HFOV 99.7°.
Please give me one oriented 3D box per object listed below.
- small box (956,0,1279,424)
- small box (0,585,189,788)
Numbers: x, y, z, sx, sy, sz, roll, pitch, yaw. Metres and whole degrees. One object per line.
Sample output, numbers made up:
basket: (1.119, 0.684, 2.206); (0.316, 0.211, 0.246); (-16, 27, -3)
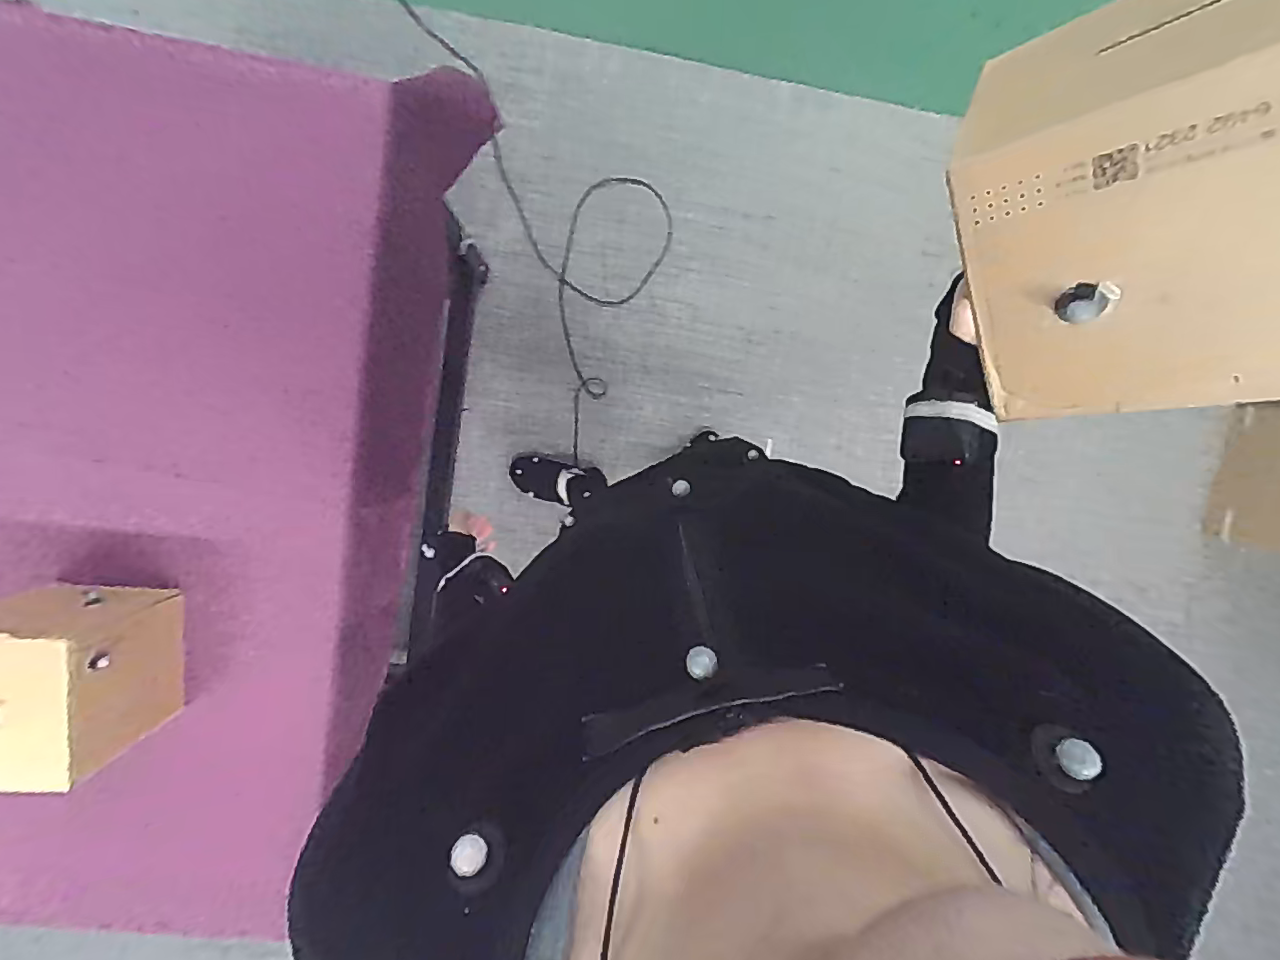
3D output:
small box: (0.288, -0.157, 0.296); (0.176, 0.168, 0.179); (56, 51, -31)
small box: (-0.697, 0.240, 0.661); (0.168, 0.176, 0.179); (3, 94, -4)
